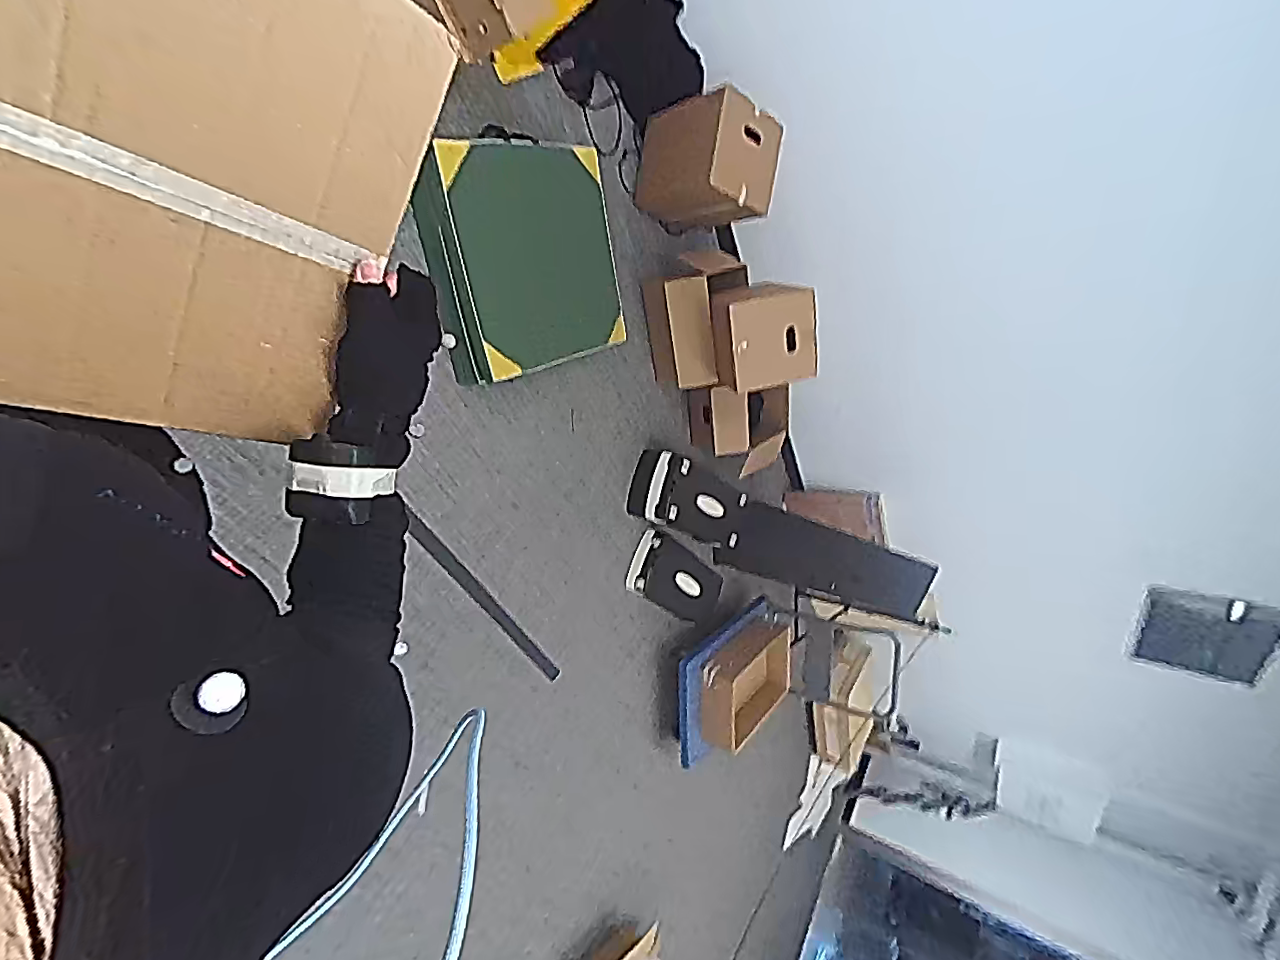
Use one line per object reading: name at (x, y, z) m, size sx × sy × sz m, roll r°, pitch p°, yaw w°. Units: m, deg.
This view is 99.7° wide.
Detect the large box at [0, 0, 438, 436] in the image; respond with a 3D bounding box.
large box at (-0.417, -0.262, 0.345) m, size 0.408 × 0.320 × 0.320 m, roll 8°, pitch 121°, yaw -46°
